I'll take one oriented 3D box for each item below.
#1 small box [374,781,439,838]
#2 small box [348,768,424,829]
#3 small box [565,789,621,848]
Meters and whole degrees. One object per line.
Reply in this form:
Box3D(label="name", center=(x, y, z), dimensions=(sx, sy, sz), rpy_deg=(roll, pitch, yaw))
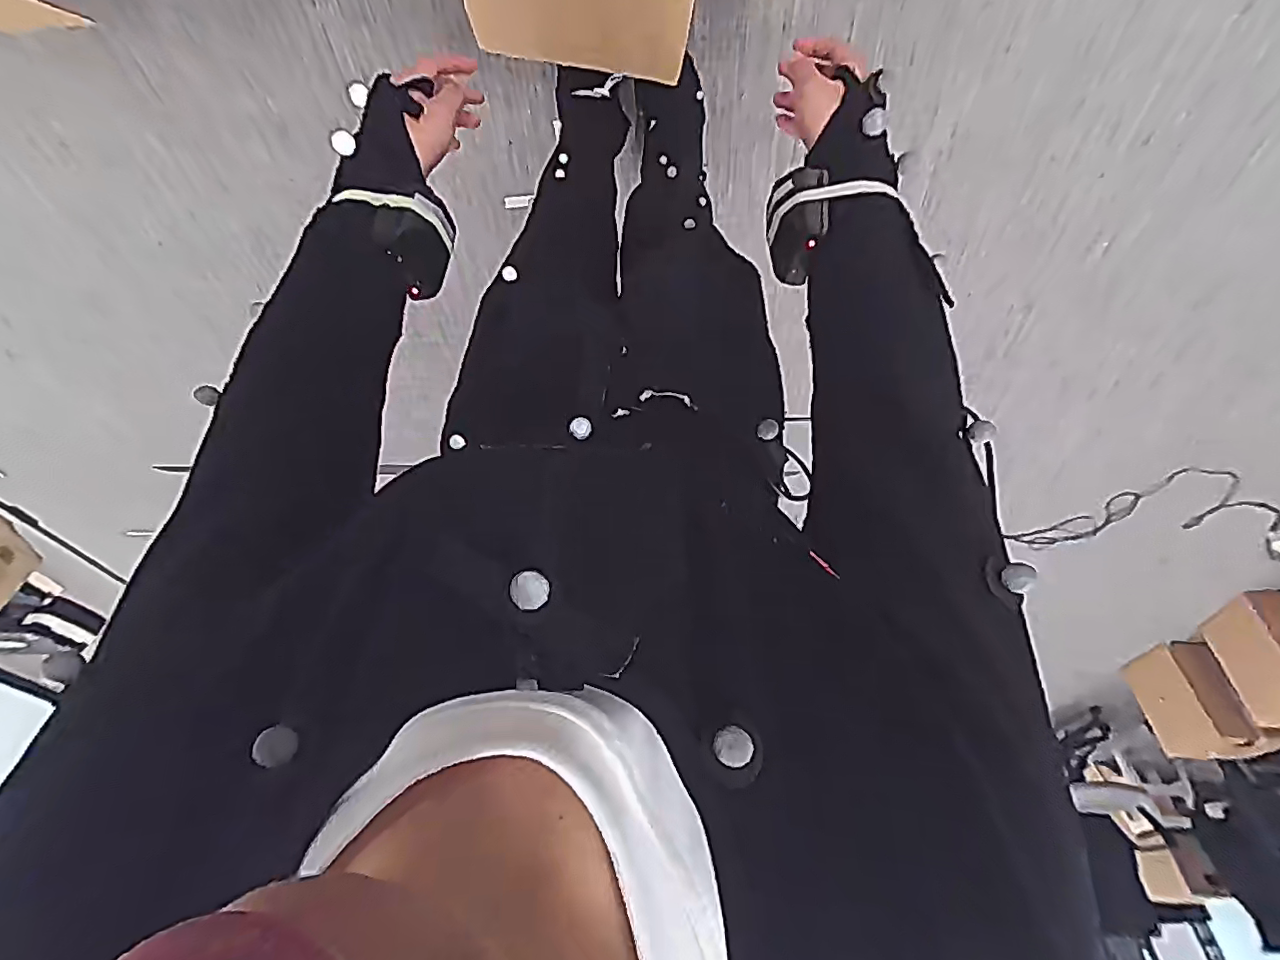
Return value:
Box3D(label="small box", center=(-0.904, 1.286, 2.117), dimensions=(0.179, 0.176, 0.168), rpy_deg=(5, 138, 0))
Box3D(label="small box", center=(-0.914, 1.156, 1.965), dimensions=(0.179, 0.176, 0.168), rpy_deg=(1, 141, 2))
Box3D(label="small box", center=(-0.176, 1.301, 2.082), dimensions=(0.179, 0.176, 0.168), rpy_deg=(-2, 139, 7))
